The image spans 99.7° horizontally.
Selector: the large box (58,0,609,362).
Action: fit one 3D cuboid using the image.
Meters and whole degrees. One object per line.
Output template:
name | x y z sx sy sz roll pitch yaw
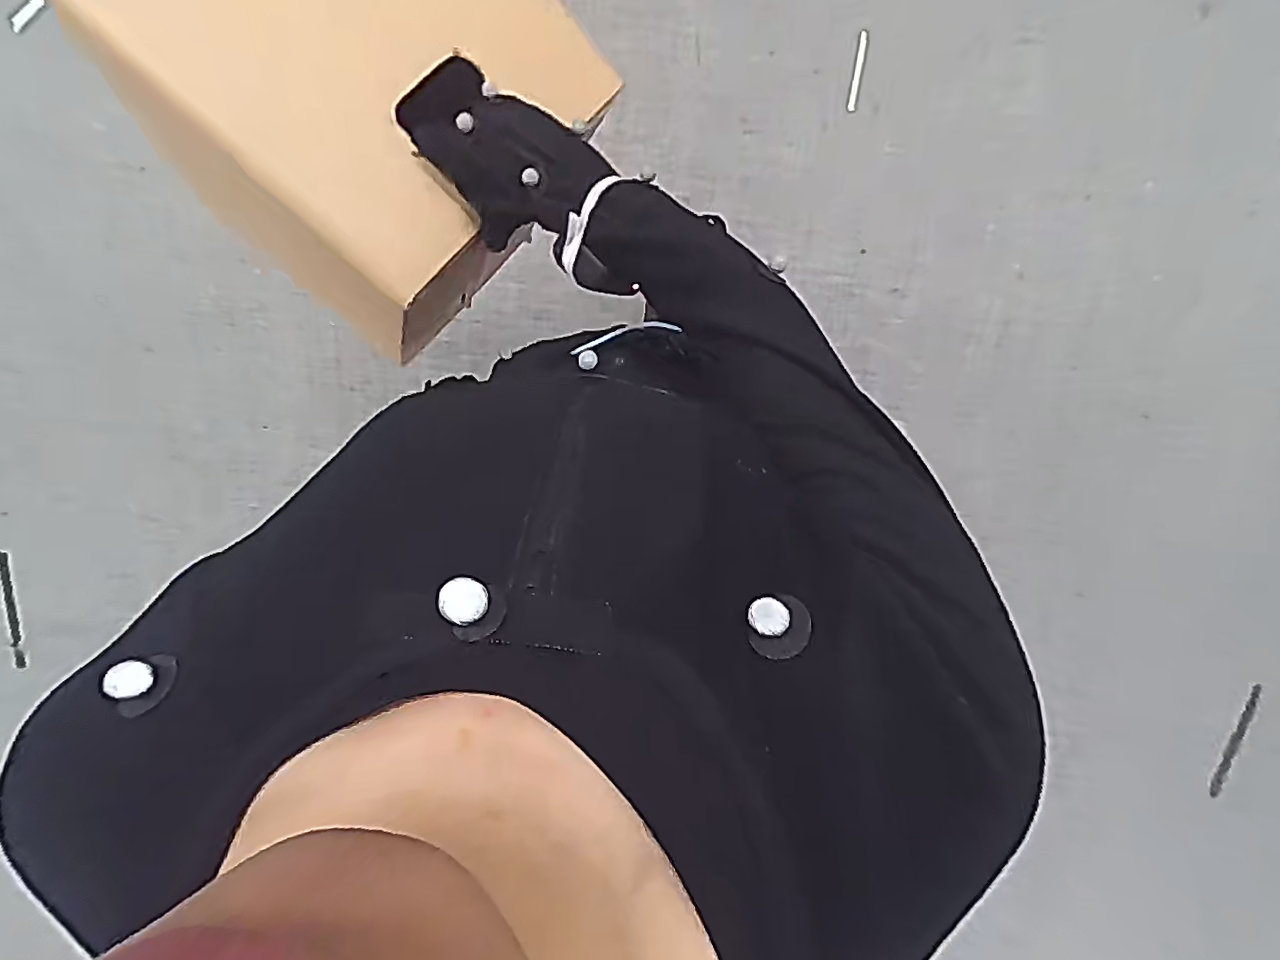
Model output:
large box | -0.301 -0.378 0.637 0.320 0.408 0.320 43 77 -21
